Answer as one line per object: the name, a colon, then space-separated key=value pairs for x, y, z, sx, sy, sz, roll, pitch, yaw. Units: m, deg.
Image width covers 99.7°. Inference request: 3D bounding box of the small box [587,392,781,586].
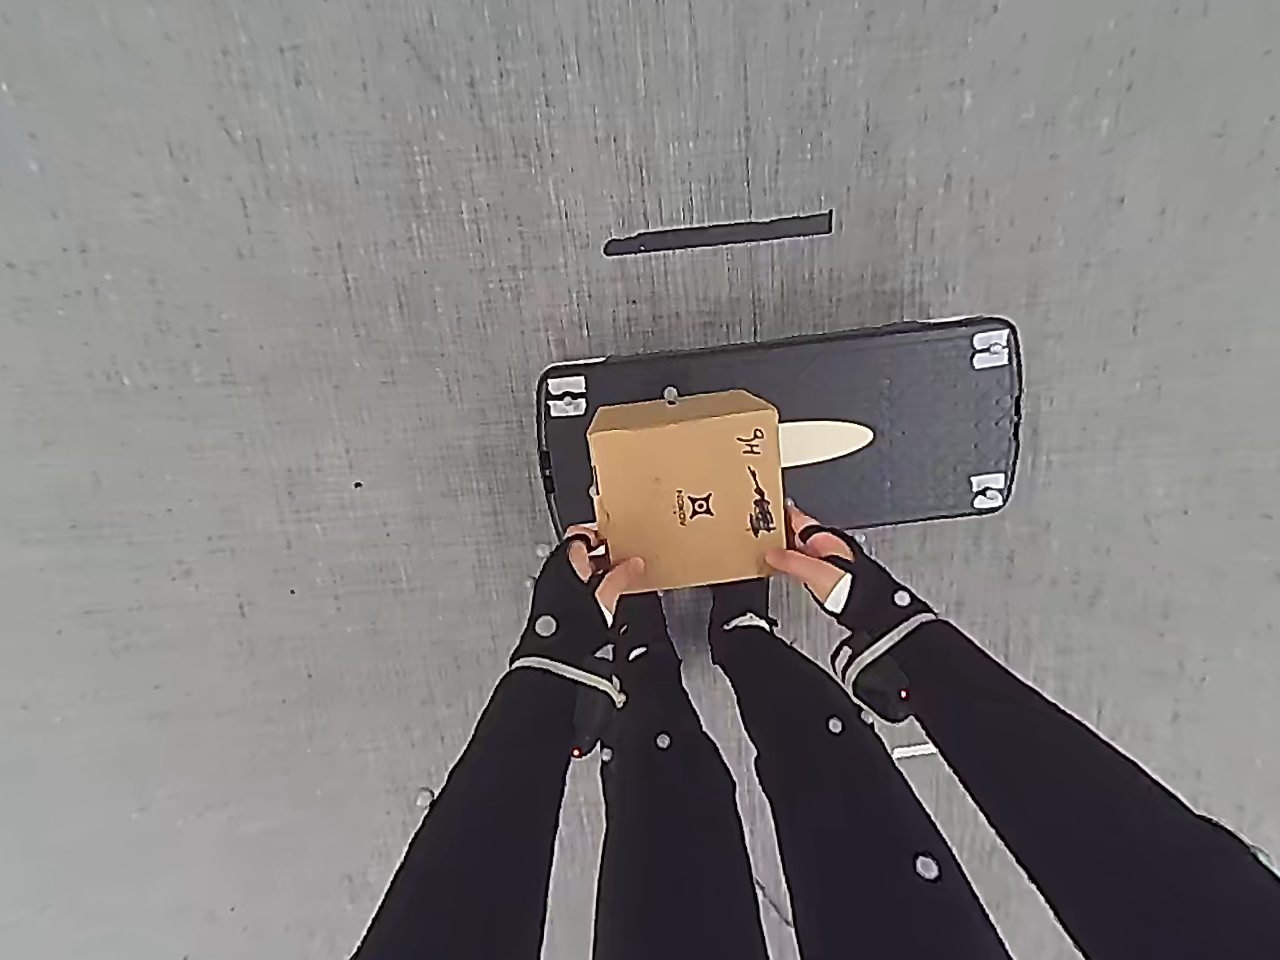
small box: x=0.046 y=0.000 z=0.600 sx=0.179 sy=0.176 sz=0.168 roll=-8 pitch=106 yaw=2
